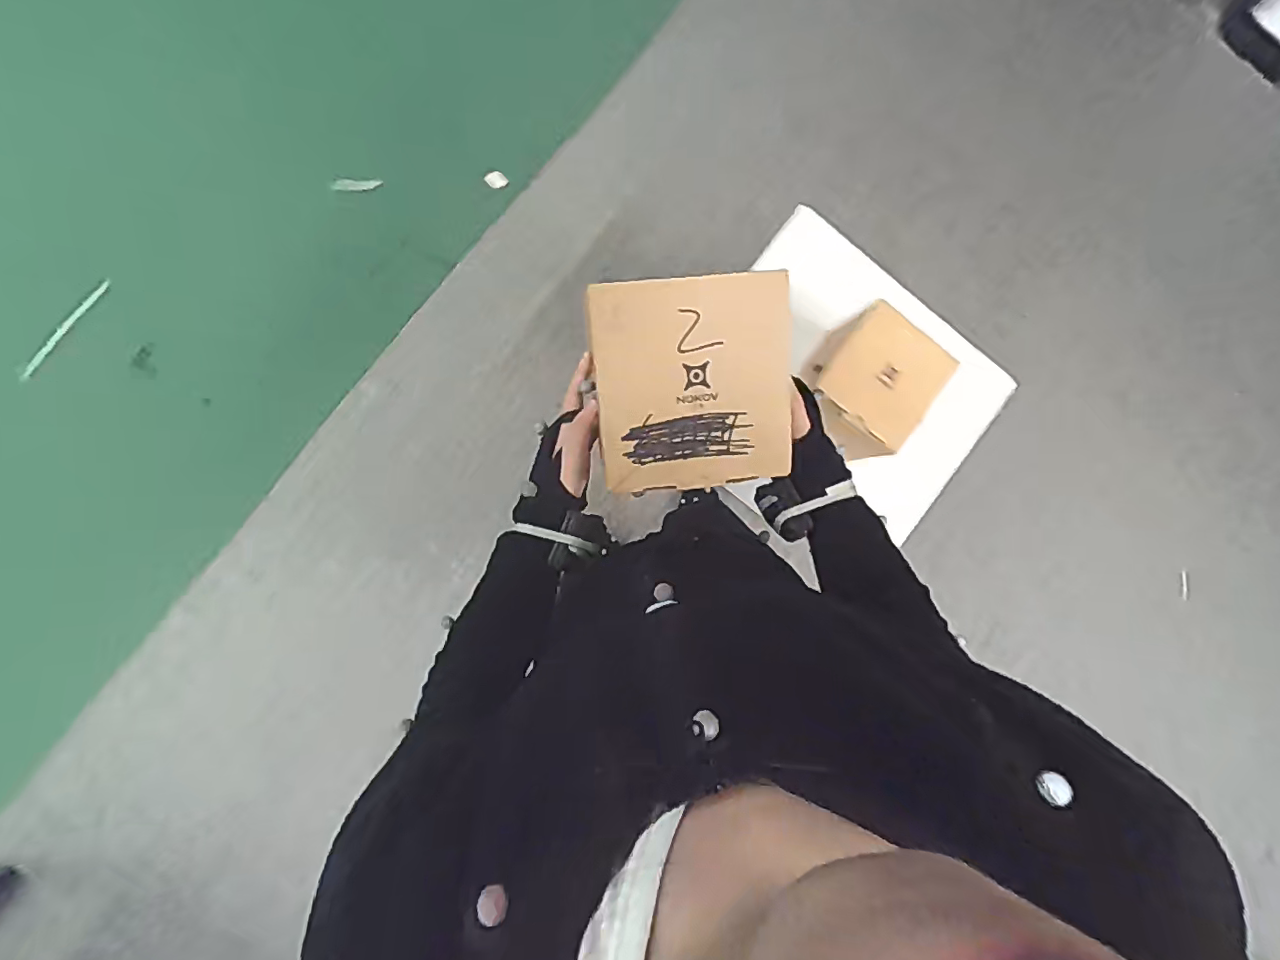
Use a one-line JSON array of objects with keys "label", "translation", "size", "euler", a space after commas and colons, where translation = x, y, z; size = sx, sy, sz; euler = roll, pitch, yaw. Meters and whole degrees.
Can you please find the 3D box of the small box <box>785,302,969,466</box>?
[{"label": "small box", "translation": [0.361, -0.140, 0.858], "size": [0.168, 0.176, 0.179], "euler": [38, 84, -3]}]
